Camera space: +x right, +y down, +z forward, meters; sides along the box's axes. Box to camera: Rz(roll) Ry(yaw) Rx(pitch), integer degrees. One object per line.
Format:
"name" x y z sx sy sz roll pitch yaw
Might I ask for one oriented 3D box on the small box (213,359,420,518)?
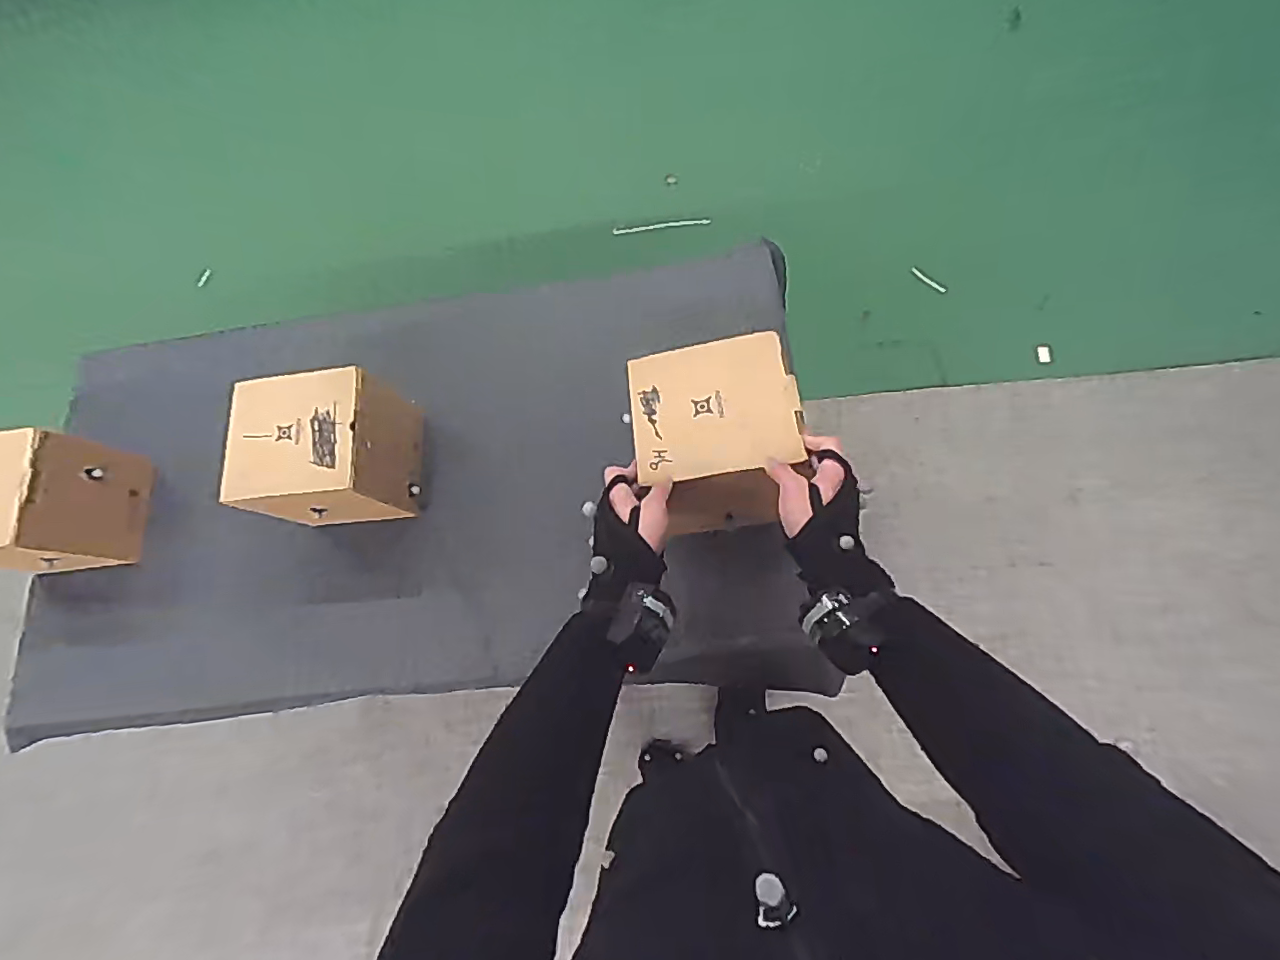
"small box" -0.422 -0.047 0.738 0.179 0.176 0.168 -5 73 5

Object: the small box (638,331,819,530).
"small box" 0.098 -0.049 0.646 0.179 0.176 0.168 -8 64 7

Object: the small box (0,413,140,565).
"small box" -0.869 0.021 0.761 0.179 0.176 0.168 -7 72 4
